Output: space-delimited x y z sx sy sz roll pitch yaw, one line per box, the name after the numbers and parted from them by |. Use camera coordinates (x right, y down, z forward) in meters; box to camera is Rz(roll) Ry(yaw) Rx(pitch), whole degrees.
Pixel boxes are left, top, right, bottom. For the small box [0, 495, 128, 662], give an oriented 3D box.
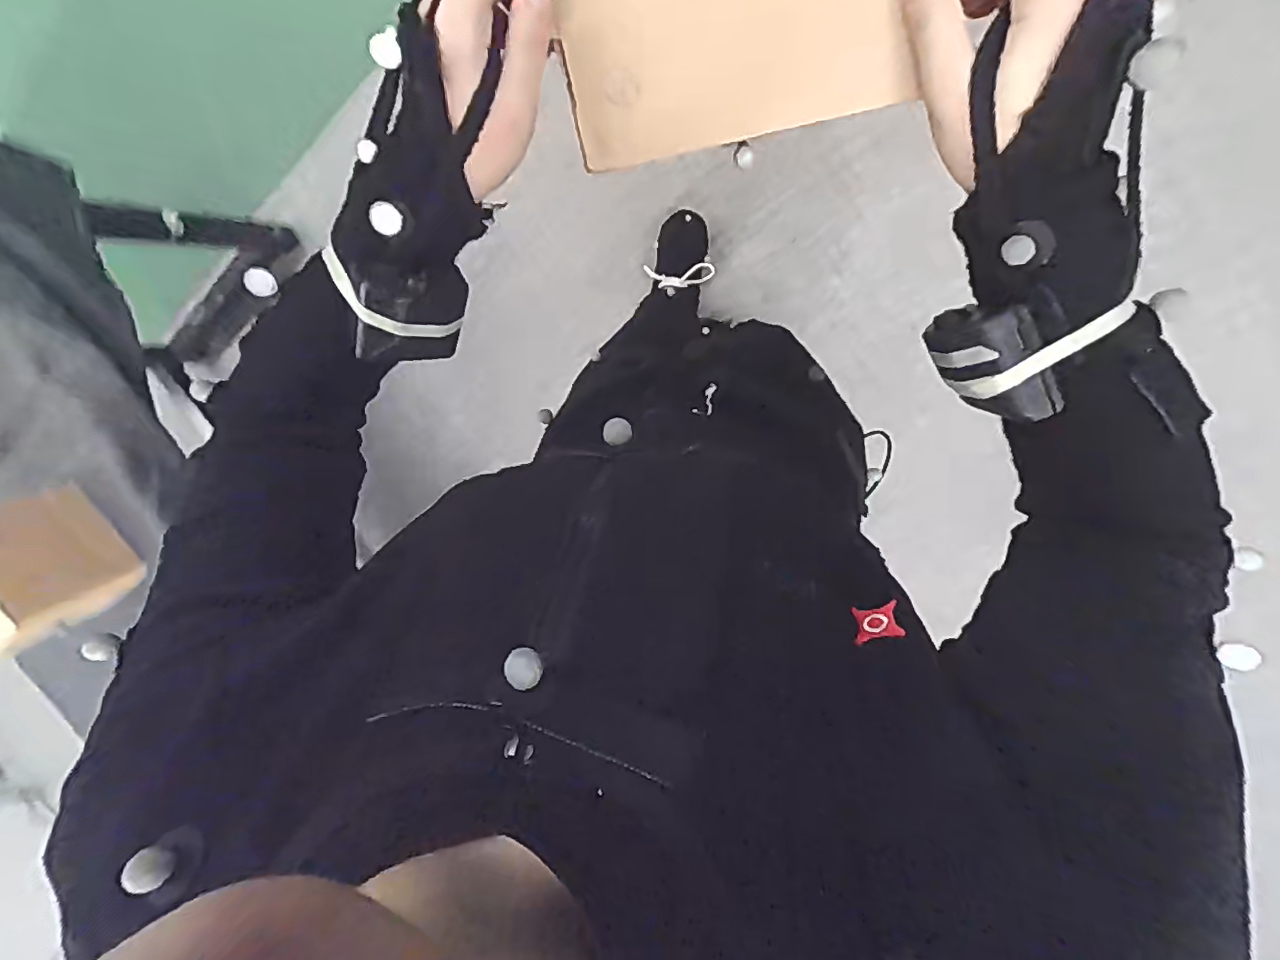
-0.924 0.151 0.794 0.168 0.176 0.179 -32 98 22 | small box

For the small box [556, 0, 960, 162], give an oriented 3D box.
0.058 -0.281 0.289 0.179 0.176 0.168 -3 122 15 | small box
